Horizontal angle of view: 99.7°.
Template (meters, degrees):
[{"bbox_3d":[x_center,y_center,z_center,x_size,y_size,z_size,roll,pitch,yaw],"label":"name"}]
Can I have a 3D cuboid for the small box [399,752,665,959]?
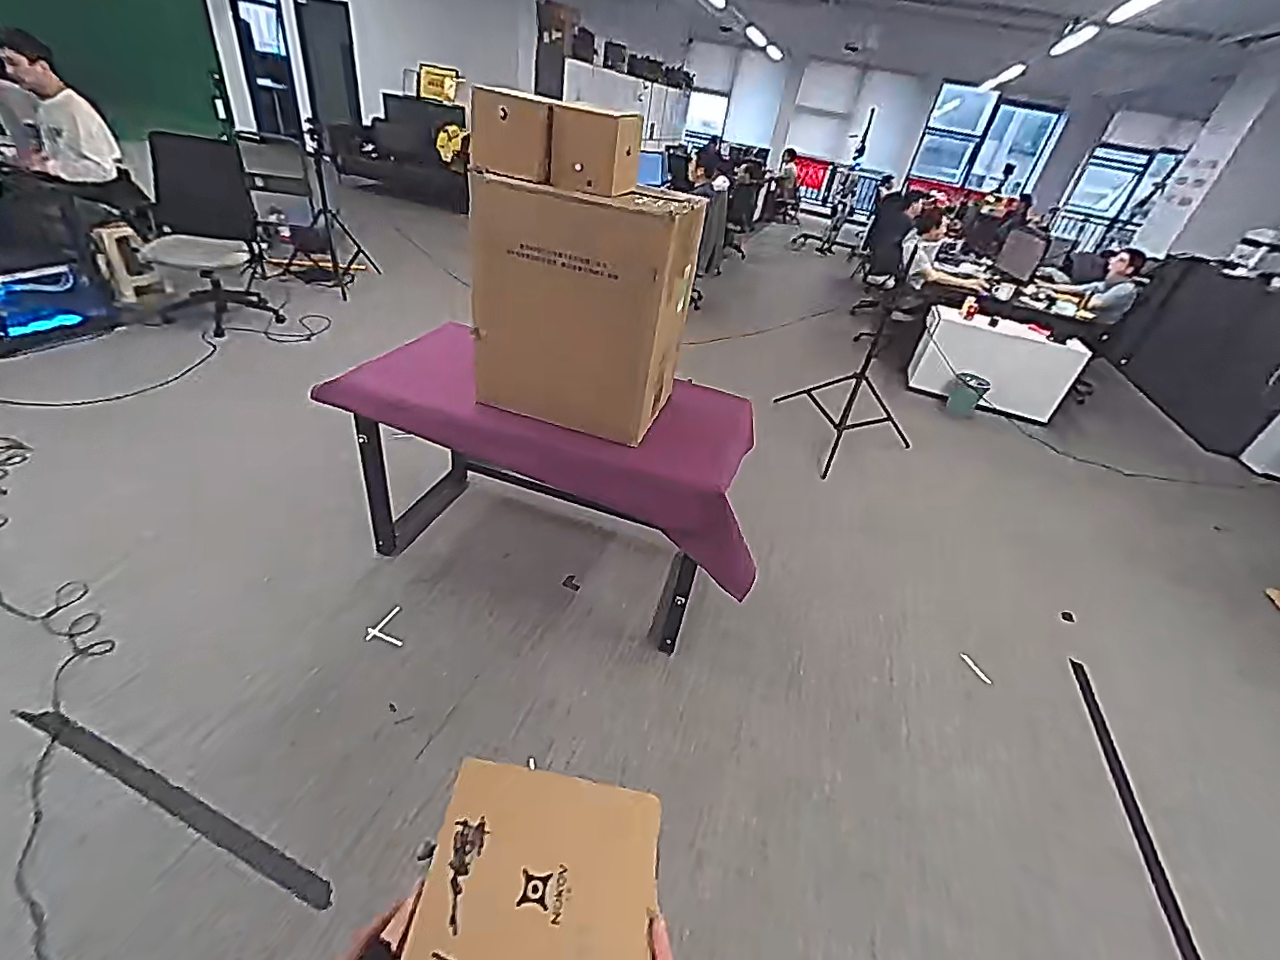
[{"bbox_3d":[-0.093,0.361,0.449,0.179,0.176,0.168,18,37,-8],"label":"small box"}]

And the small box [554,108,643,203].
[{"bbox_3d":[-0.106,-0.796,1.326,0.168,0.176,0.179,17,38,11],"label":"small box"}]

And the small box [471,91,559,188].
[{"bbox_3d":[-0.295,-0.826,1.319,0.179,0.176,0.168,17,36,6],"label":"small box"}]
